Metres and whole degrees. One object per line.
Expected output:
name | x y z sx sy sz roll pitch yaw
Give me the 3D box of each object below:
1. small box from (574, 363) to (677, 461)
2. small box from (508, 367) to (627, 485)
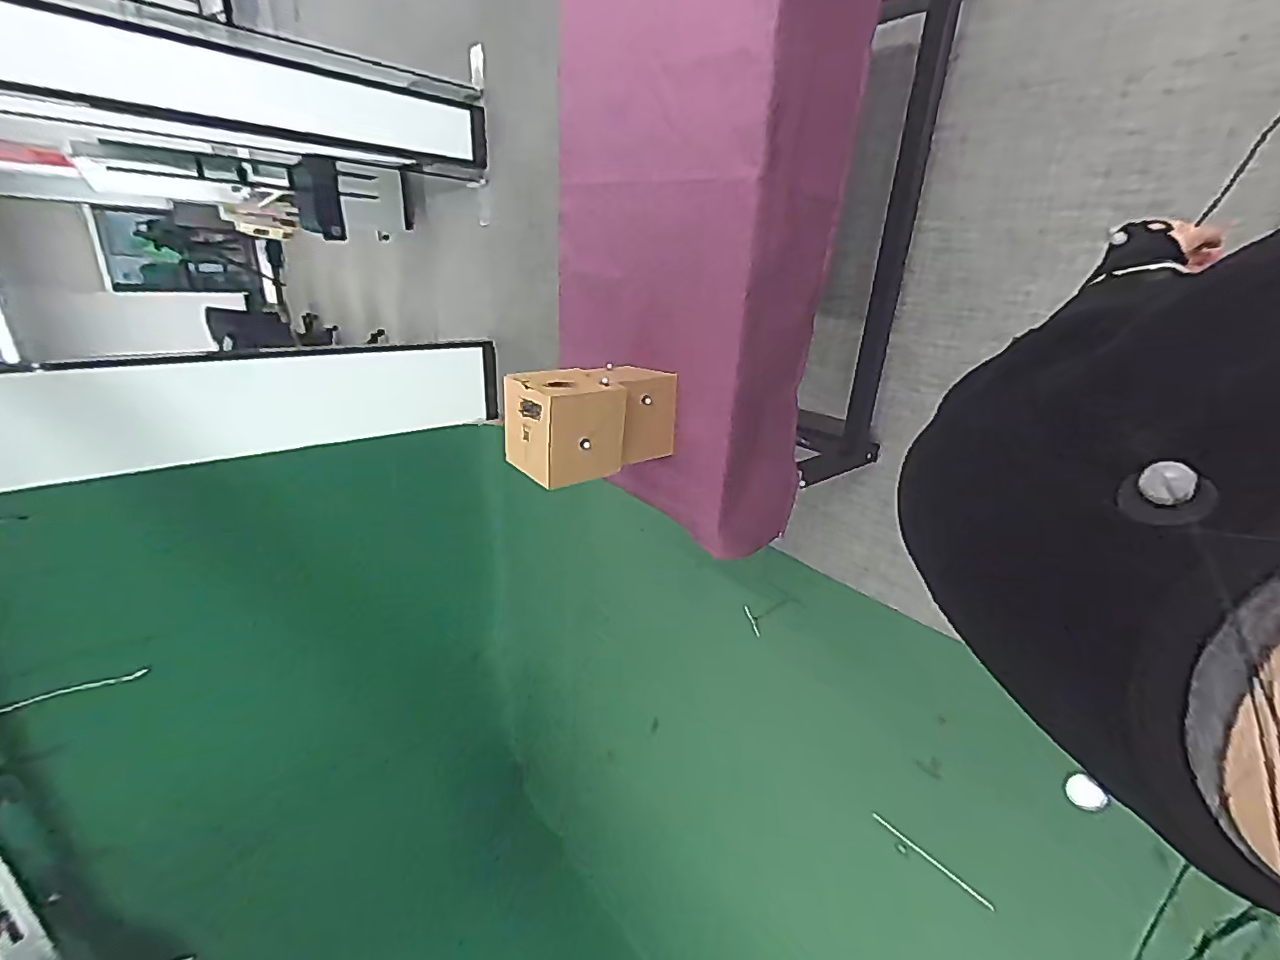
small box | -0.035 -0.154 1.173 0.168 0.176 0.179 23 120 45
small box | -0.140 -0.115 1.050 0.168 0.176 0.179 30 125 42
